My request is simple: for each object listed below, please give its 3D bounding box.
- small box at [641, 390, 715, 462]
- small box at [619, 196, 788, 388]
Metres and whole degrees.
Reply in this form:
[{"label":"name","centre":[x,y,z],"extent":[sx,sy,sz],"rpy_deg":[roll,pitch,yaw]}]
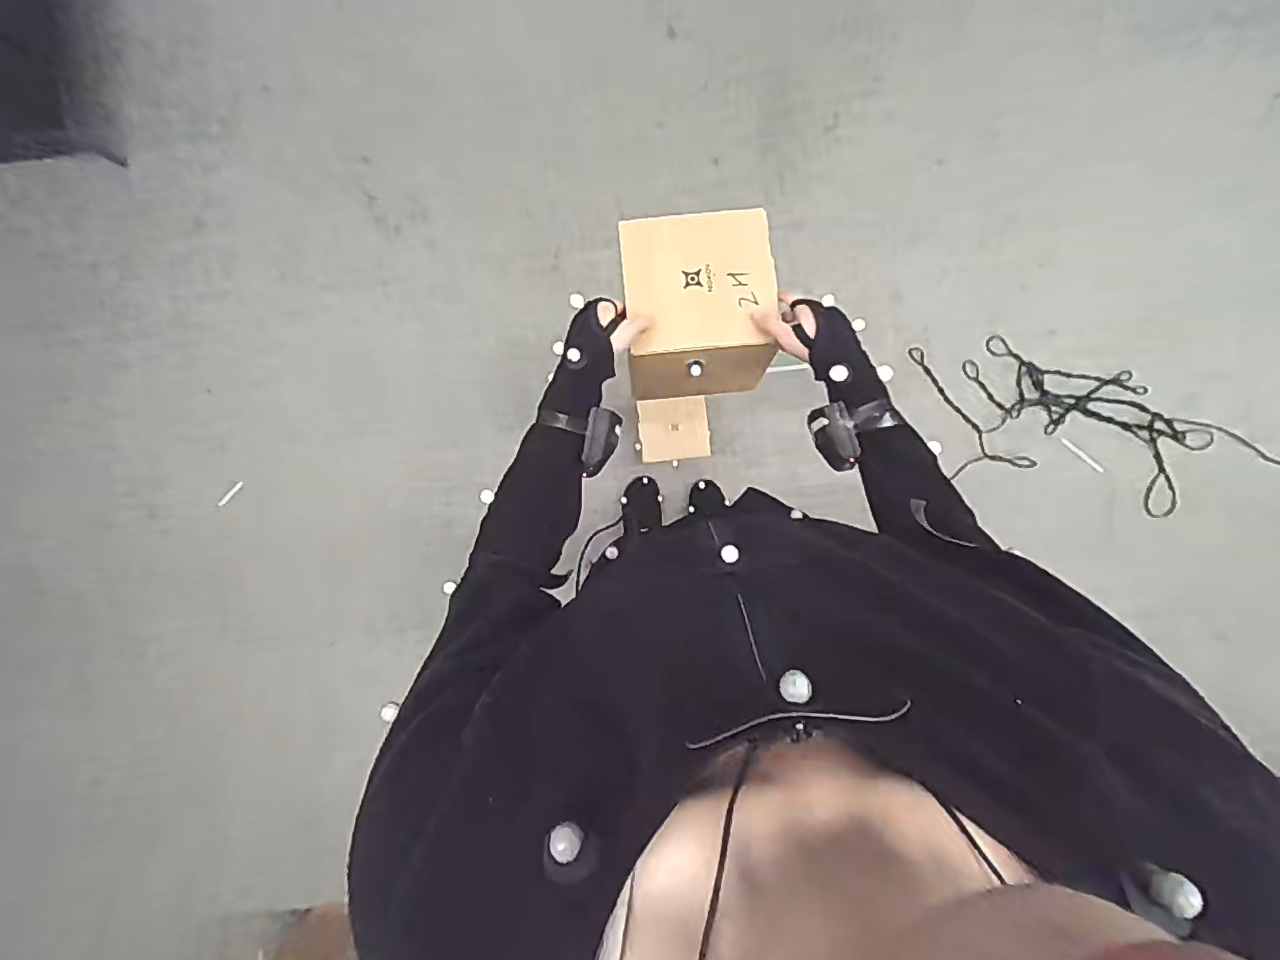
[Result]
[{"label":"small box","centre":[0.101,-0.138,1.430],"extent":[0.179,0.176,0.168],"rpy_deg":[-6,91,3]},{"label":"small box","centre":[0.070,-0.220,0.675],"extent":[0.179,0.176,0.168],"rpy_deg":[-5,82,0]}]
